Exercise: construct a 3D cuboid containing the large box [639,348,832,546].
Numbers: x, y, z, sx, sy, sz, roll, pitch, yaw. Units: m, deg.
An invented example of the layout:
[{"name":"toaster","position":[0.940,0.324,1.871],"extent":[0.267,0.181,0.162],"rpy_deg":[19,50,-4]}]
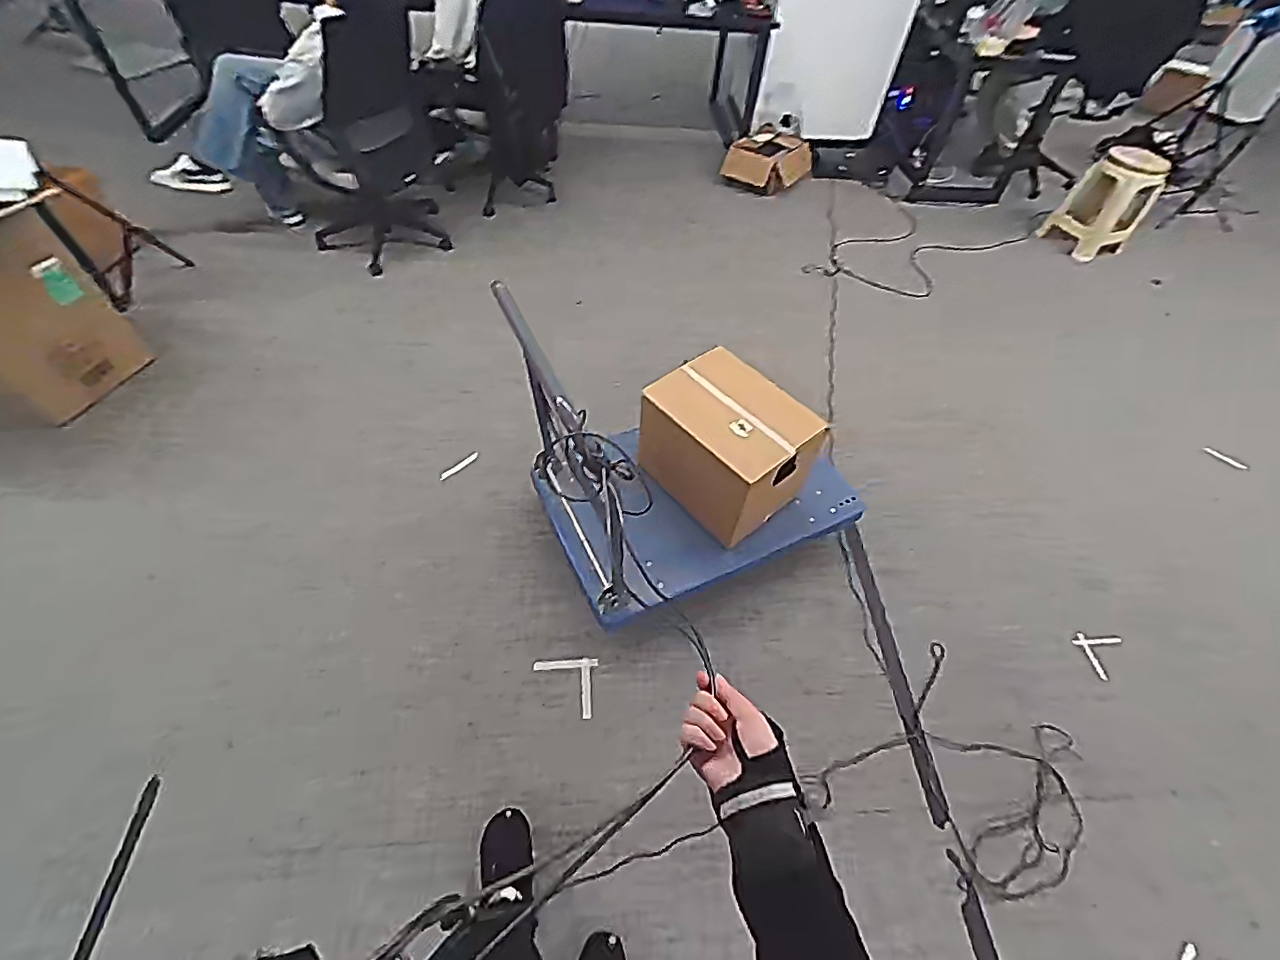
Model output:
[{"name":"large box","position":[0.245,-0.096,1.529],"extent":[0.320,0.320,0.408],"rpy_deg":[-34,63,-24]}]
